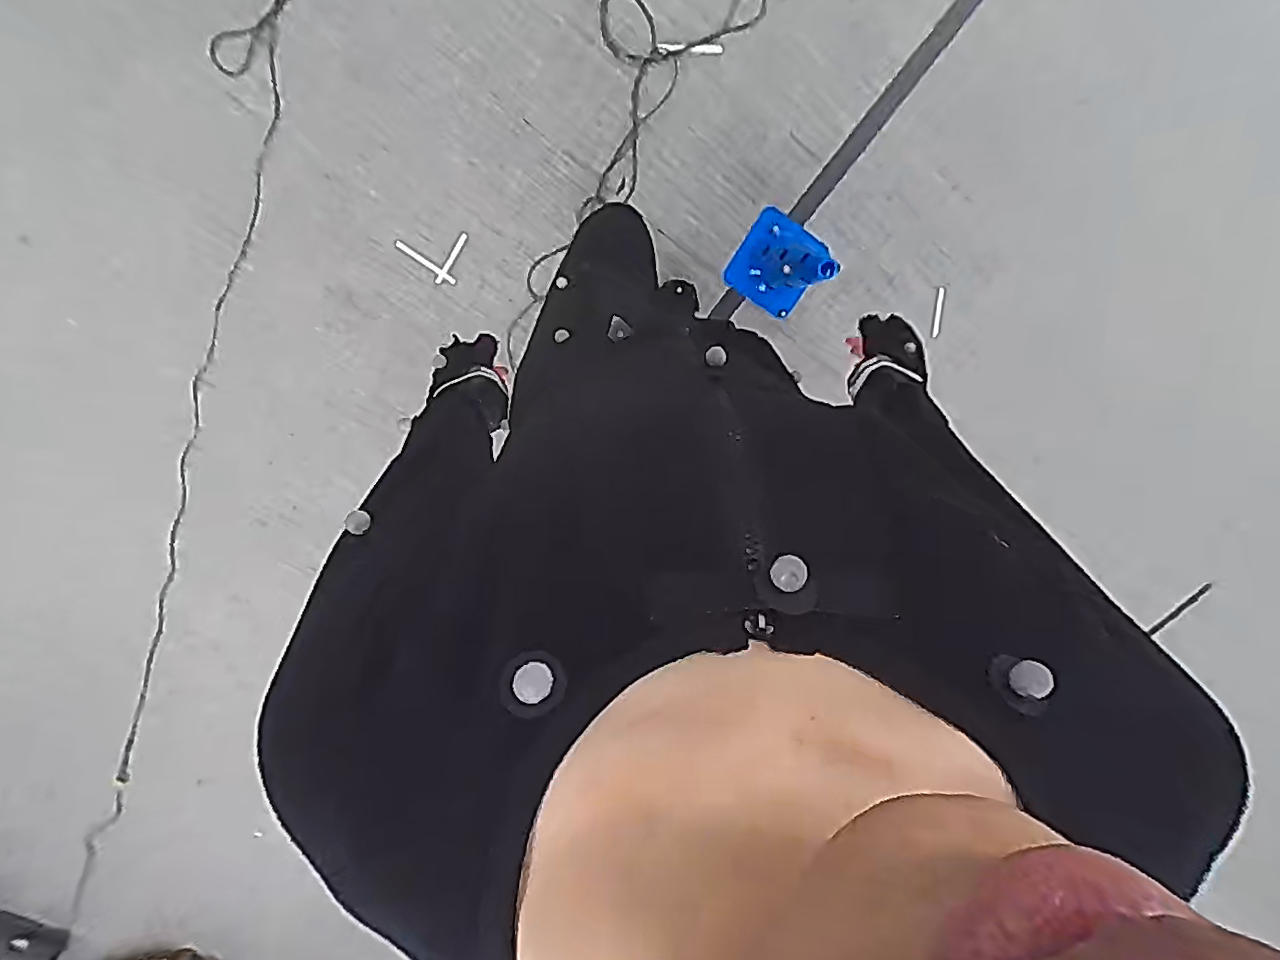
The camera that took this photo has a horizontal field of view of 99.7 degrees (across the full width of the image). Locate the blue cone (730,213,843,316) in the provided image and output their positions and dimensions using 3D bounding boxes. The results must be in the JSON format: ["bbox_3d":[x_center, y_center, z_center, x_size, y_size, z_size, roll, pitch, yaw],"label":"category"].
[{"bbox_3d":[0.343,-0.464,1.179,0.192,0.380,0.193,31,108,-15],"label":"blue cone"}]
